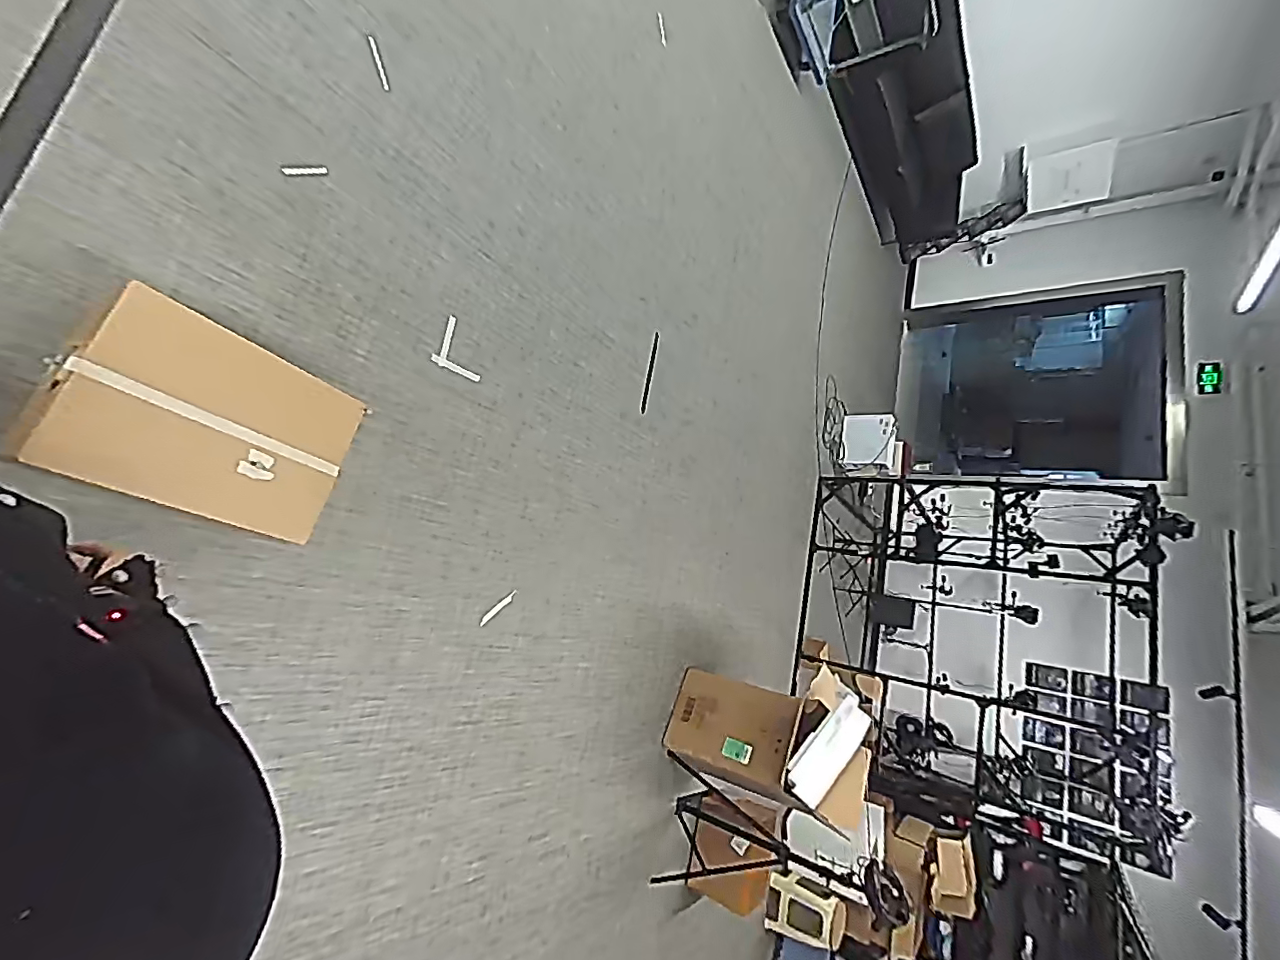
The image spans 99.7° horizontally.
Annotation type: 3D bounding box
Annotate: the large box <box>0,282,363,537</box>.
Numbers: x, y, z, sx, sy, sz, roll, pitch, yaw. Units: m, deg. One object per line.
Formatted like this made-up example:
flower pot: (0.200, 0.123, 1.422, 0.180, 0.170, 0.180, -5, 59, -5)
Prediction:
large box: (-0.843, -0.103, 1.027, 0.408, 0.320, 0.320, 36, 64, -50)
